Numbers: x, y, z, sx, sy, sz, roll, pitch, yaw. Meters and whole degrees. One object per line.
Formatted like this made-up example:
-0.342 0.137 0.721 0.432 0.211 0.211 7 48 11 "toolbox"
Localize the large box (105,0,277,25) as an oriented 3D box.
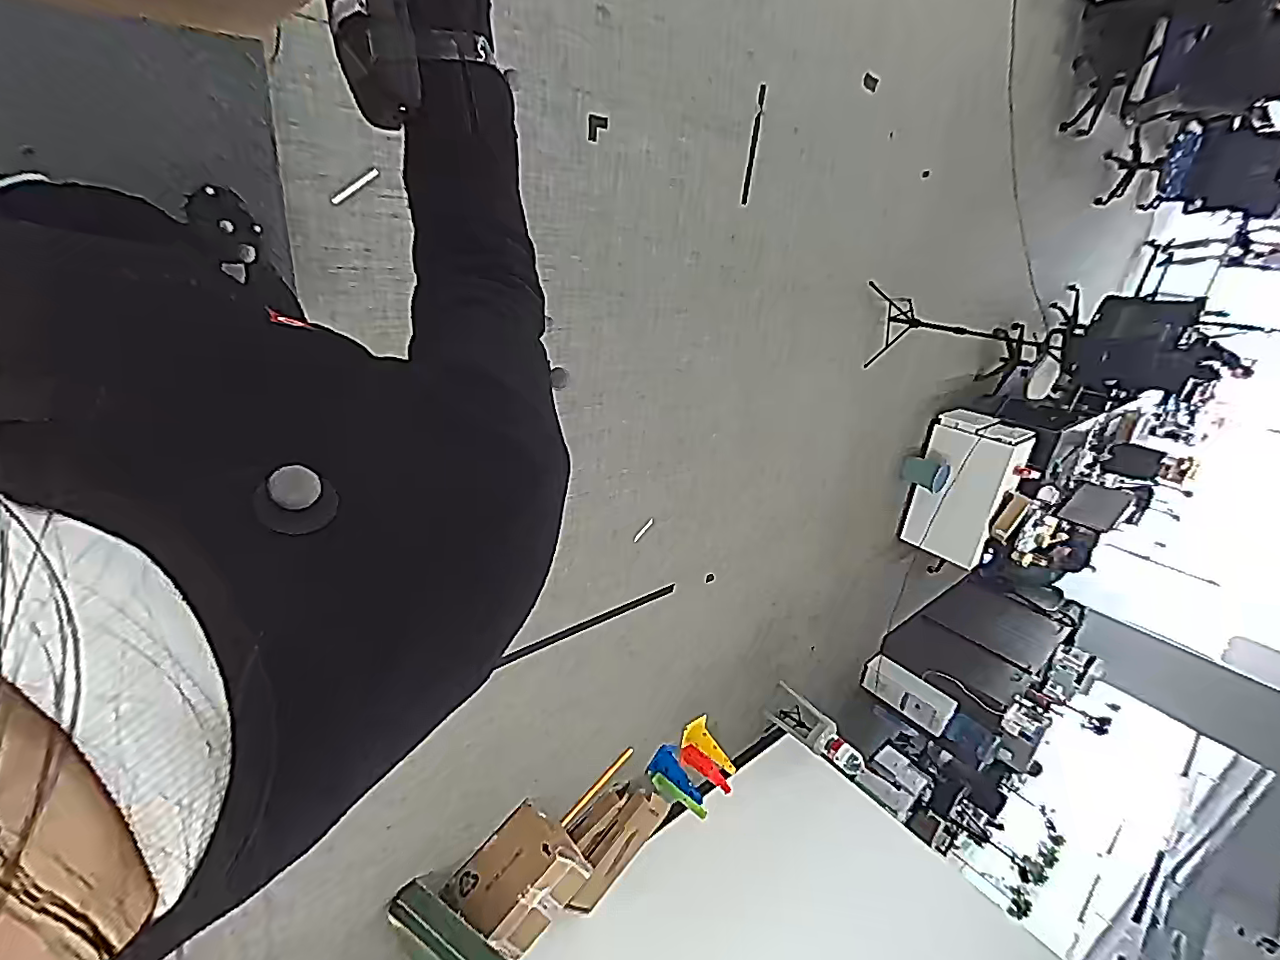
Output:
-0.396 -0.426 0.203 0.408 0.320 0.320 -19 128 -37 "large box"
